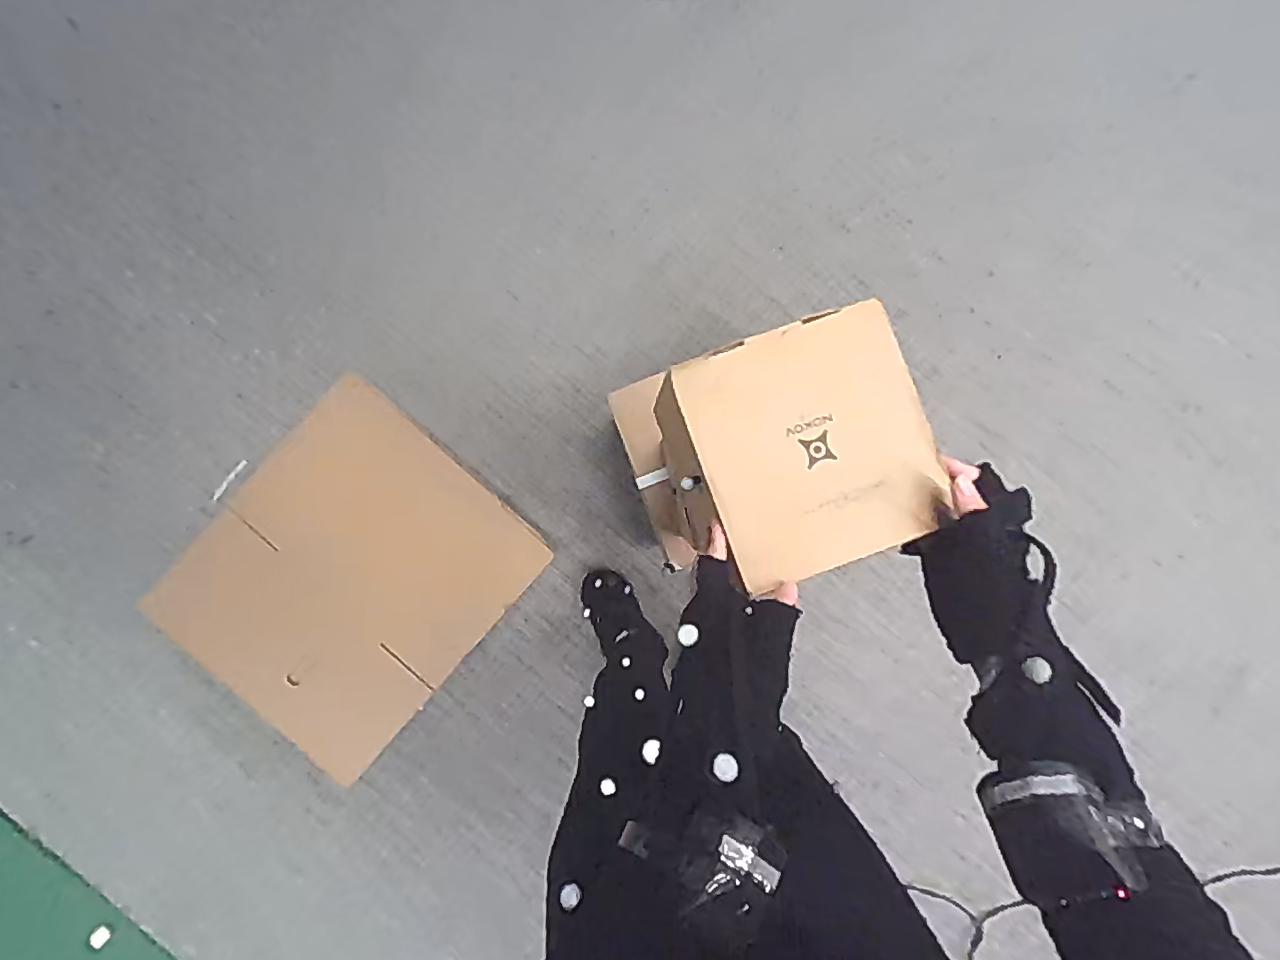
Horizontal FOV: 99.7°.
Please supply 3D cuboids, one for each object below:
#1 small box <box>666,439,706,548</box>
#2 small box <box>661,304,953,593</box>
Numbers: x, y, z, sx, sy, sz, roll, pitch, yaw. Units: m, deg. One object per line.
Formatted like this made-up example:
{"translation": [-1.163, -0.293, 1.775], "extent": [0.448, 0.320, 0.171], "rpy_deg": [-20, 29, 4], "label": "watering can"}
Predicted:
{"translation": [0.141, -0.003, 0.806], "extent": [0.179, 0.176, 0.168], "rpy_deg": [-16, 88, -1], "label": "small box"}
{"translation": [0.123, -0.021, 0.475], "extent": [0.168, 0.176, 0.179], "rpy_deg": [-21, 89, -1], "label": "small box"}
